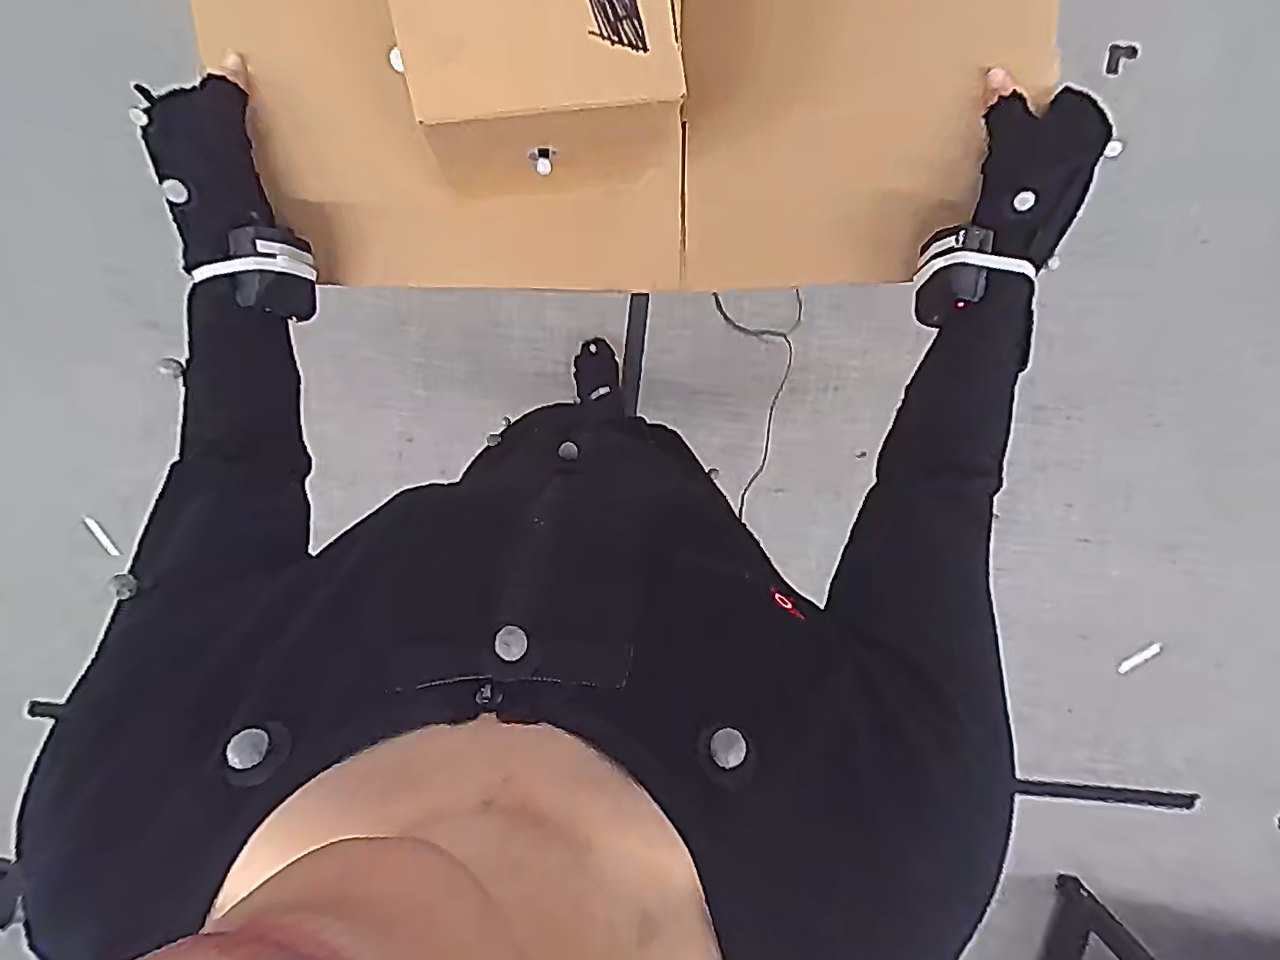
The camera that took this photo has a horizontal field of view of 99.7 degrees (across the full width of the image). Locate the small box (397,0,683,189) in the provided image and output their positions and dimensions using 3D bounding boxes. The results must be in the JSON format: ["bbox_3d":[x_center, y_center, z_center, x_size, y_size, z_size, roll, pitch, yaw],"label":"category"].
[{"bbox_3d":[-0.082,-0.340,0.410,0.179,0.176,0.168,-12,104,-9],"label":"small box"}]
